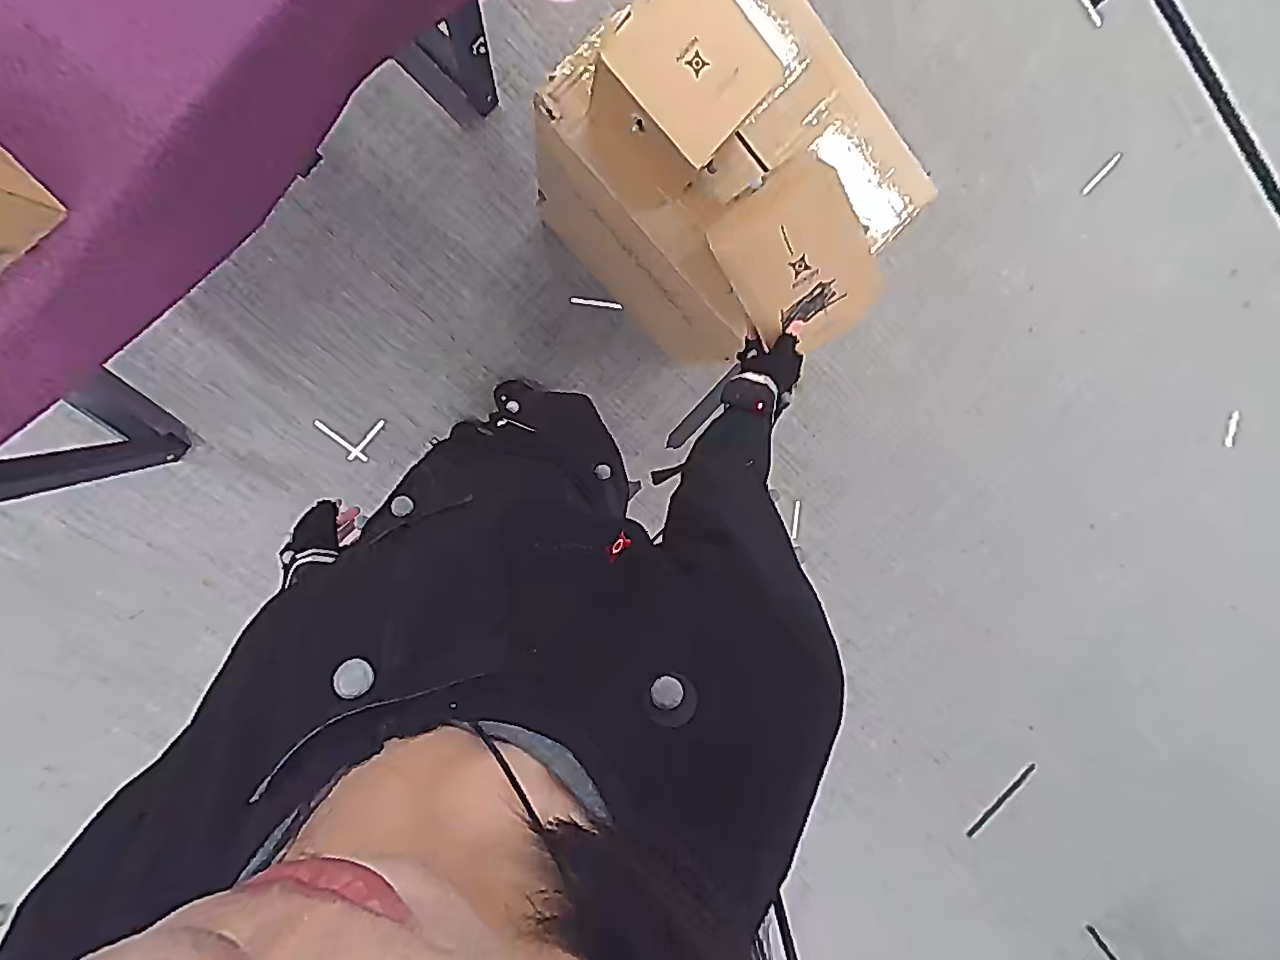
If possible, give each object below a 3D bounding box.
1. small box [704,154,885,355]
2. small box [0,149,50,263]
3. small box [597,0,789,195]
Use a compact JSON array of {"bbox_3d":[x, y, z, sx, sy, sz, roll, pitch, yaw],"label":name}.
[{"bbox_3d":[0.203,-0.311,0.741,0.168,0.176,0.179,-29,122,20],"label":"small box"},{"bbox_3d":[-0.753,-0.302,0.521,0.179,0.176,0.168,-41,103,-1],"label":"small box"},{"bbox_3d":[0.057,-0.523,0.724,0.179,0.176,0.168,42,94,-15],"label":"small box"}]
